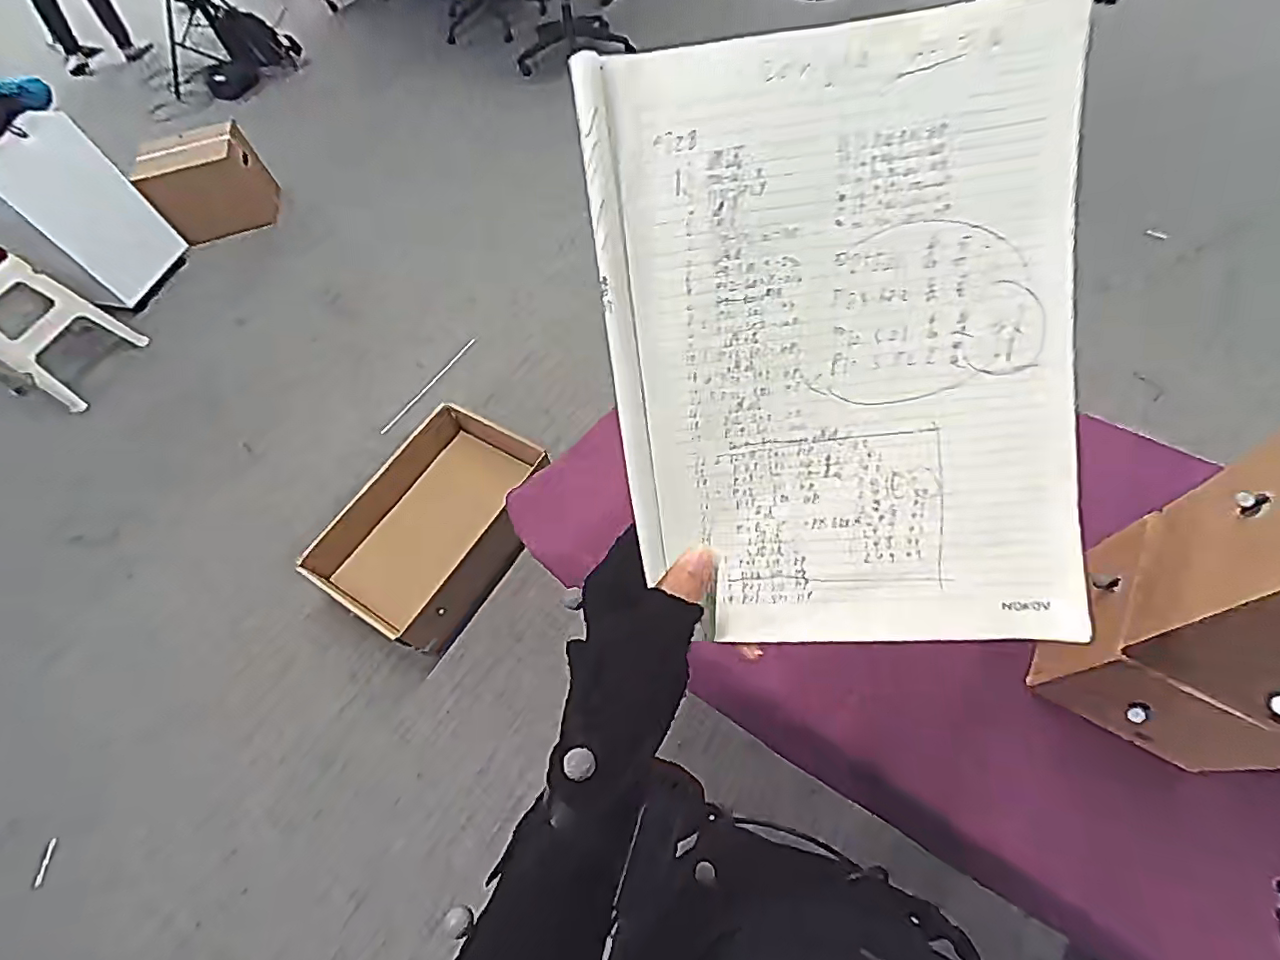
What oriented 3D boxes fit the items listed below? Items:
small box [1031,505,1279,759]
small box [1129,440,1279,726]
[{"bbox_3d":[0.550,0.164,0.561,0.168,0.176,0.179,27,67,20],"label":"small box"},{"bbox_3d":[0.539,0.080,0.420,0.168,0.176,0.179,30,68,21],"label":"small box"}]
